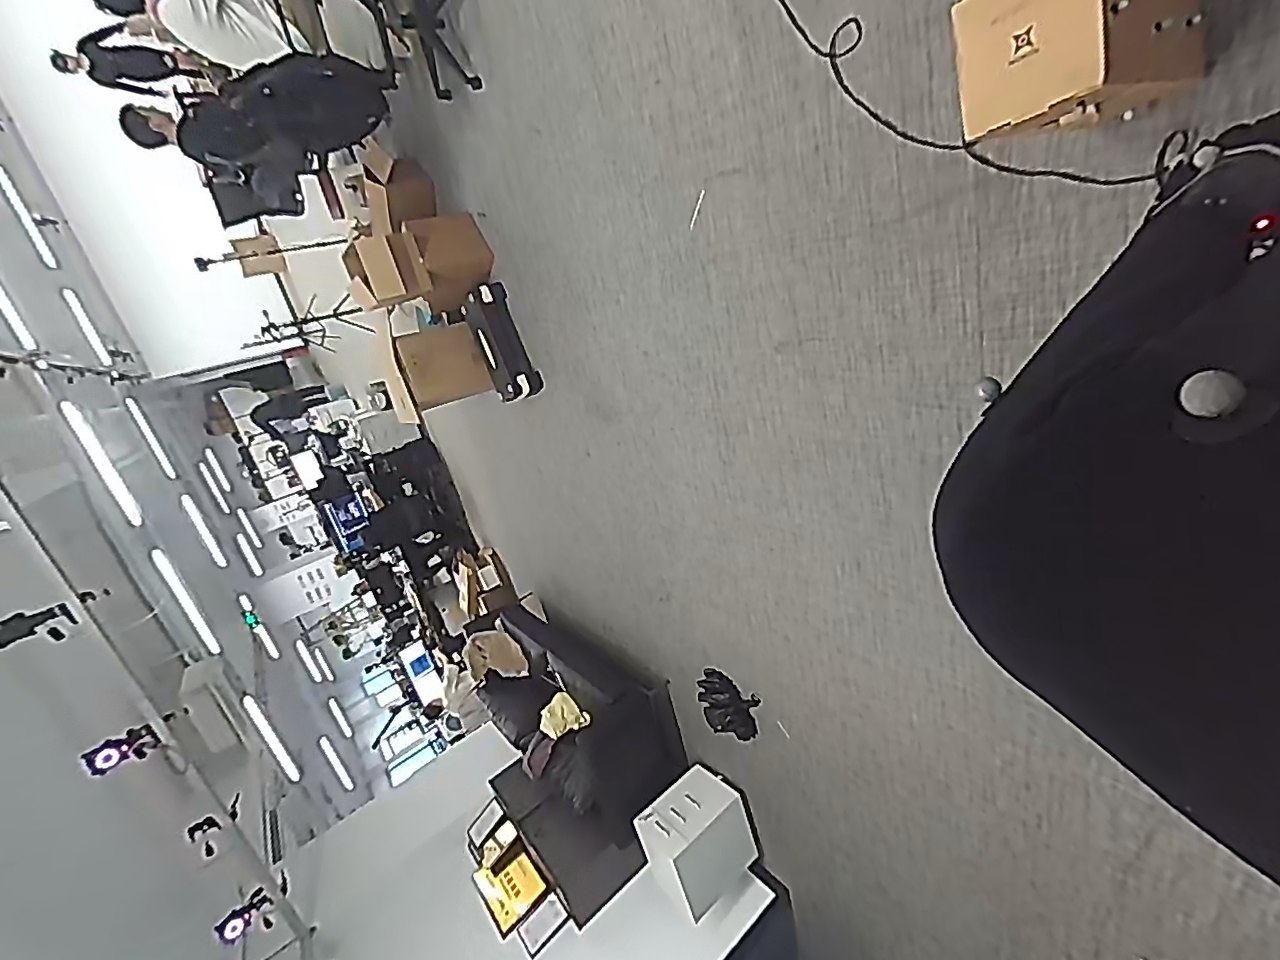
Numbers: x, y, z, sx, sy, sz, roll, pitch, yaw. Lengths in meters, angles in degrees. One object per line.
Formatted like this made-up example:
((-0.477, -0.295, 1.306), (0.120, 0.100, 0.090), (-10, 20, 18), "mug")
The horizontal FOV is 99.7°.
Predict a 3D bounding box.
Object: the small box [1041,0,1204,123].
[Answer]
((0.812, -0.737, 0.910), (0.168, 0.176, 0.179), (2, 115, 57), "small box")
